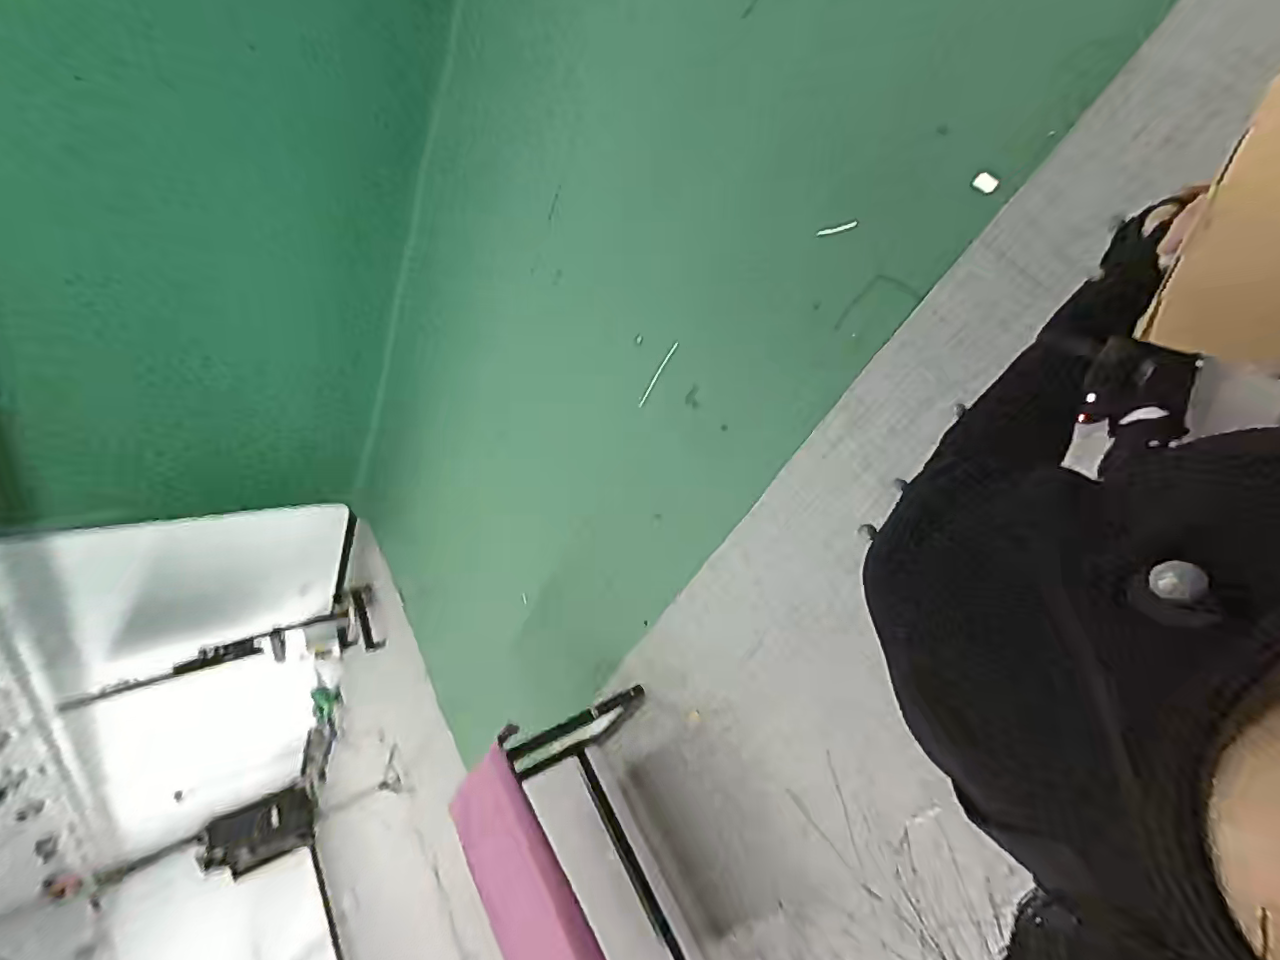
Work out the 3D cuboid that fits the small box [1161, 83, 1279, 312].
[{"bbox_3d":[0.597,-0.238,0.452,0.179,0.176,0.168,27,130,41],"label":"small box"}]
